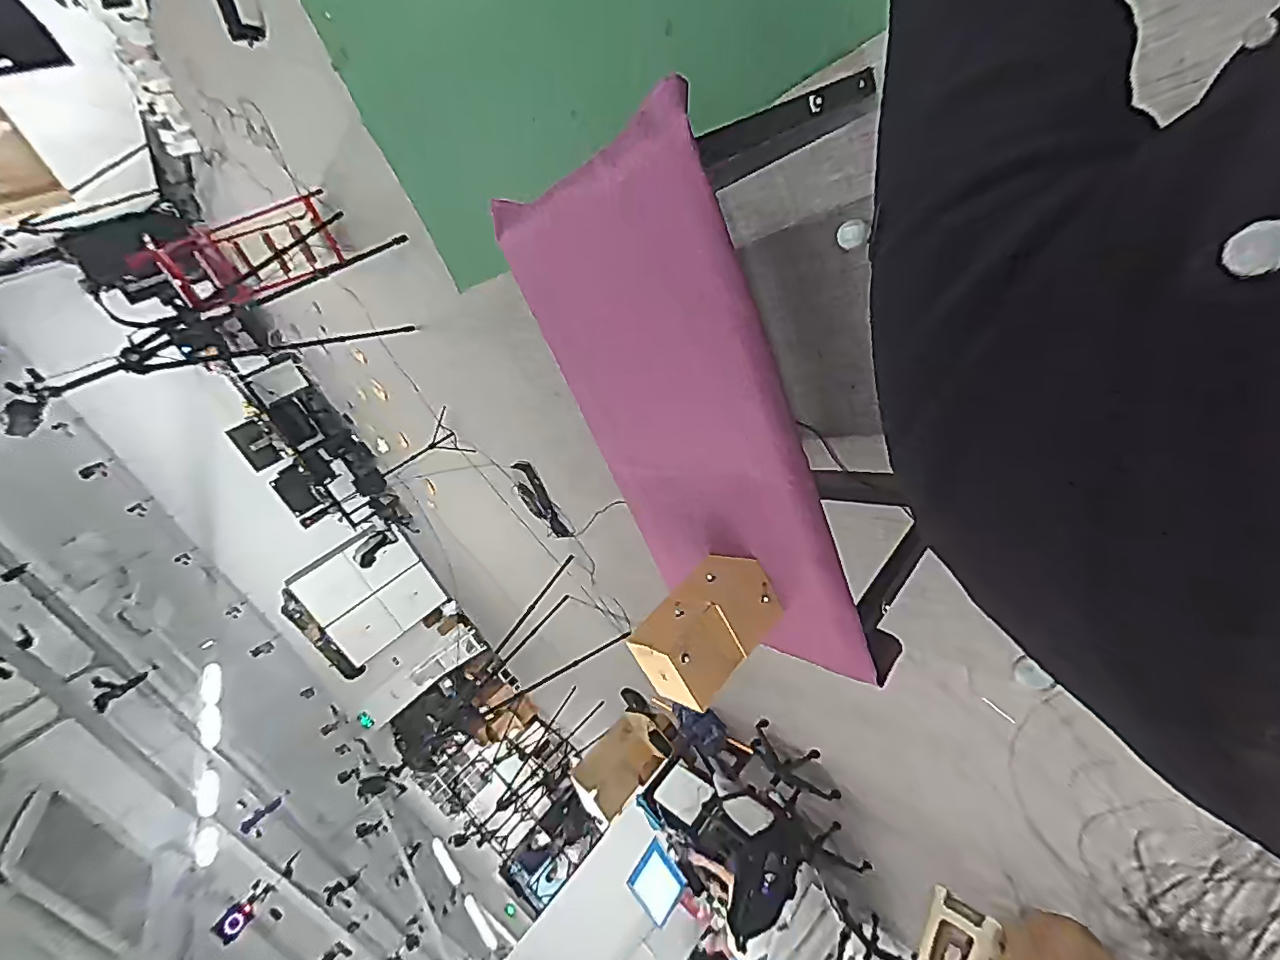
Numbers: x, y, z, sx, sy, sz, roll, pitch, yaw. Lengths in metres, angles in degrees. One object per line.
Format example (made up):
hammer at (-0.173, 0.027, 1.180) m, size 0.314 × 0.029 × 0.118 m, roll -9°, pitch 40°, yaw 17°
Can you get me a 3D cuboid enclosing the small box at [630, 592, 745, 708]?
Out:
small box at (0.115, 0.390, 1.267) m, size 0.168 × 0.176 × 0.179 m, roll -7°, pitch 117°, yaw 56°
